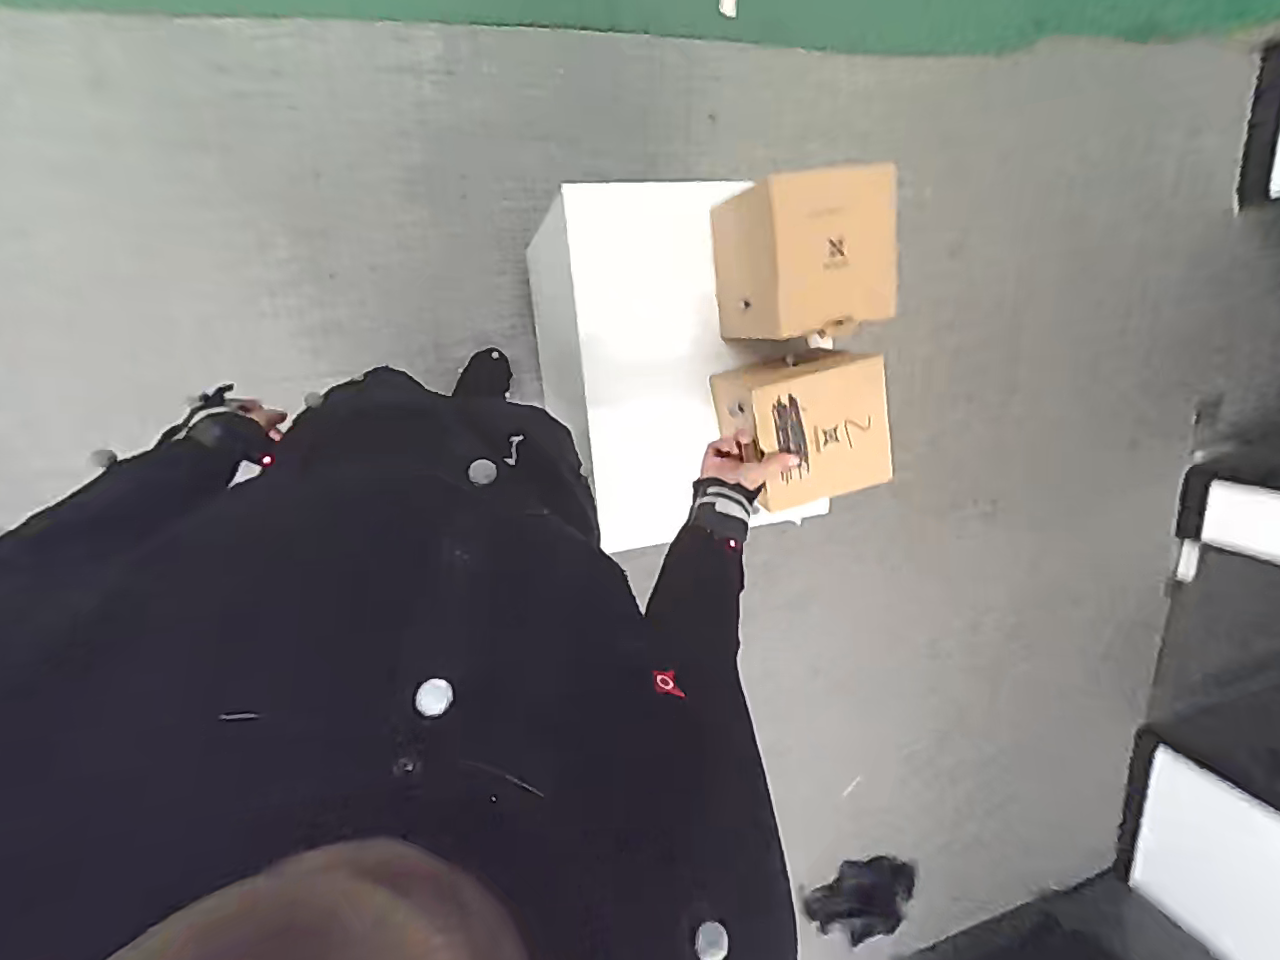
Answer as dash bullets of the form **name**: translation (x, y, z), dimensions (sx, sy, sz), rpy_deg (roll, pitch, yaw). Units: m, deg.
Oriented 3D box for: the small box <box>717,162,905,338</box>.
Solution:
- **small box**: translation (0.212, -0.285, 0.697), dimensions (0.168, 0.176, 0.179), rpy_deg (-13, 108, -14)
